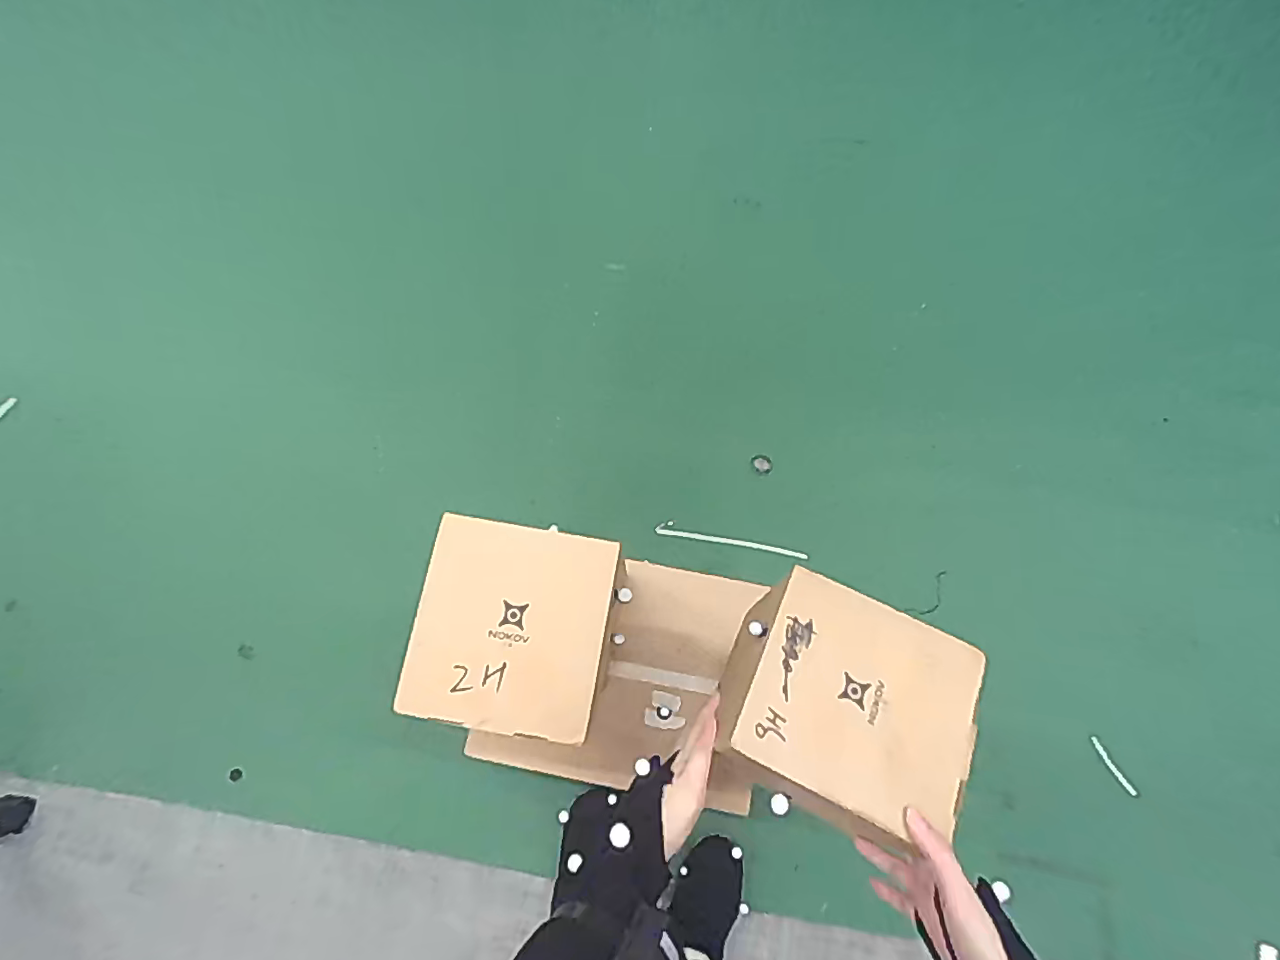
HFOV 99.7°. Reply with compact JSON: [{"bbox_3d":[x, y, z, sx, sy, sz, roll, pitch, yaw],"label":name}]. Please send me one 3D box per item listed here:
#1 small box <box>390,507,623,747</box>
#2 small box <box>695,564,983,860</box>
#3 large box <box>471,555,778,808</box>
[{"bbox_3d":[-0.112,0.140,0.539,0.168,0.176,0.179,10,76,3],"label":"small box"},{"bbox_3d":[0.170,0.208,0.504,0.179,0.176,0.168,26,64,9],"label":"small box"},{"bbox_3d":[-0.018,0.304,0.917,0.408,0.320,0.320,11,77,2],"label":"large box"}]
